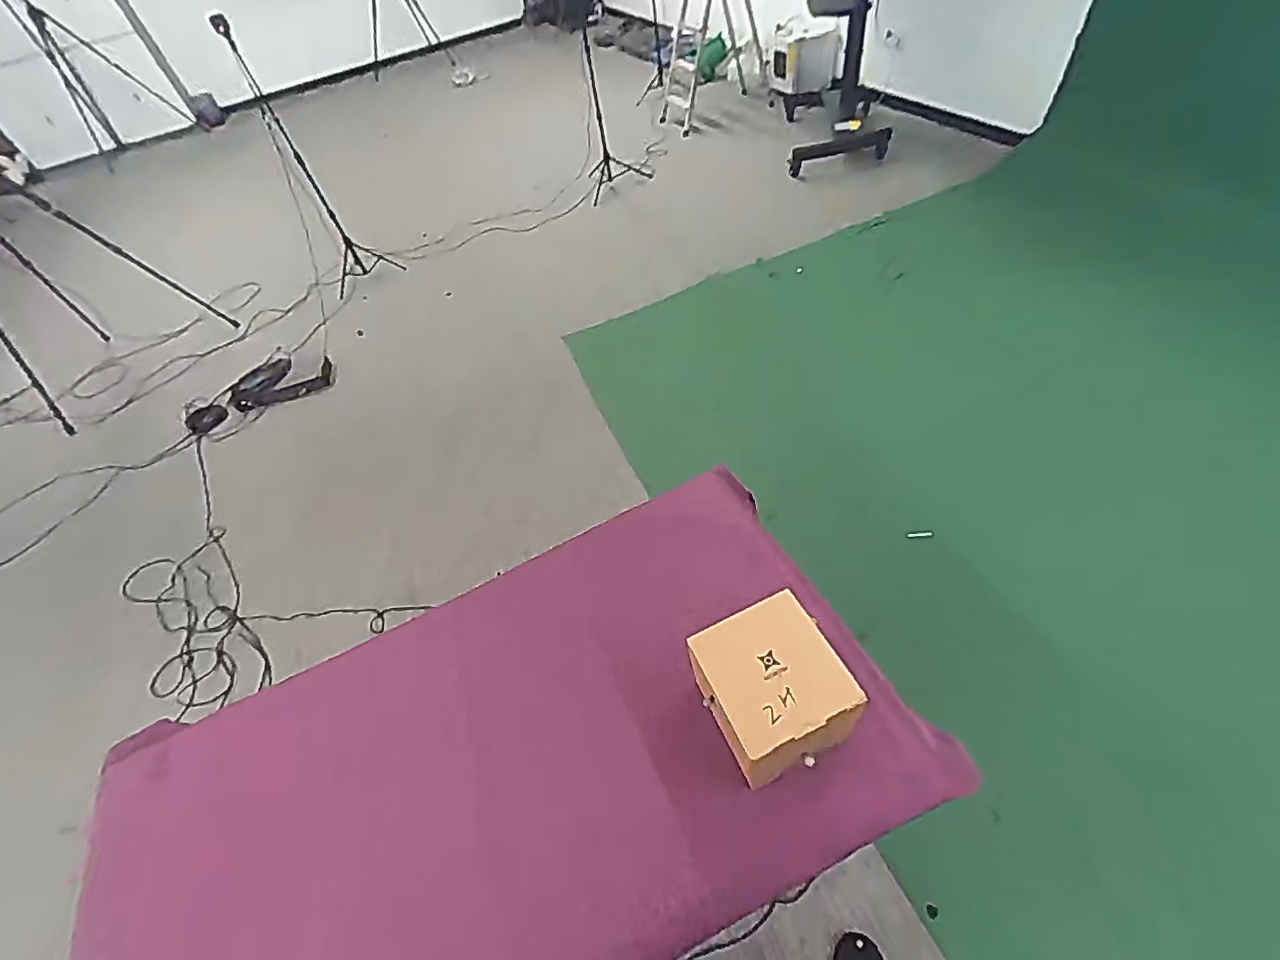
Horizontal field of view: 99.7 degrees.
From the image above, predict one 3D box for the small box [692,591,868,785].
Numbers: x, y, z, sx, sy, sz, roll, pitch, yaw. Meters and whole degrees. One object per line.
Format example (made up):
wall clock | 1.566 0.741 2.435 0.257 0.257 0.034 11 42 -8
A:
small box | 0.188 0.295 0.765 0.168 0.176 0.179 -24 50 -7
